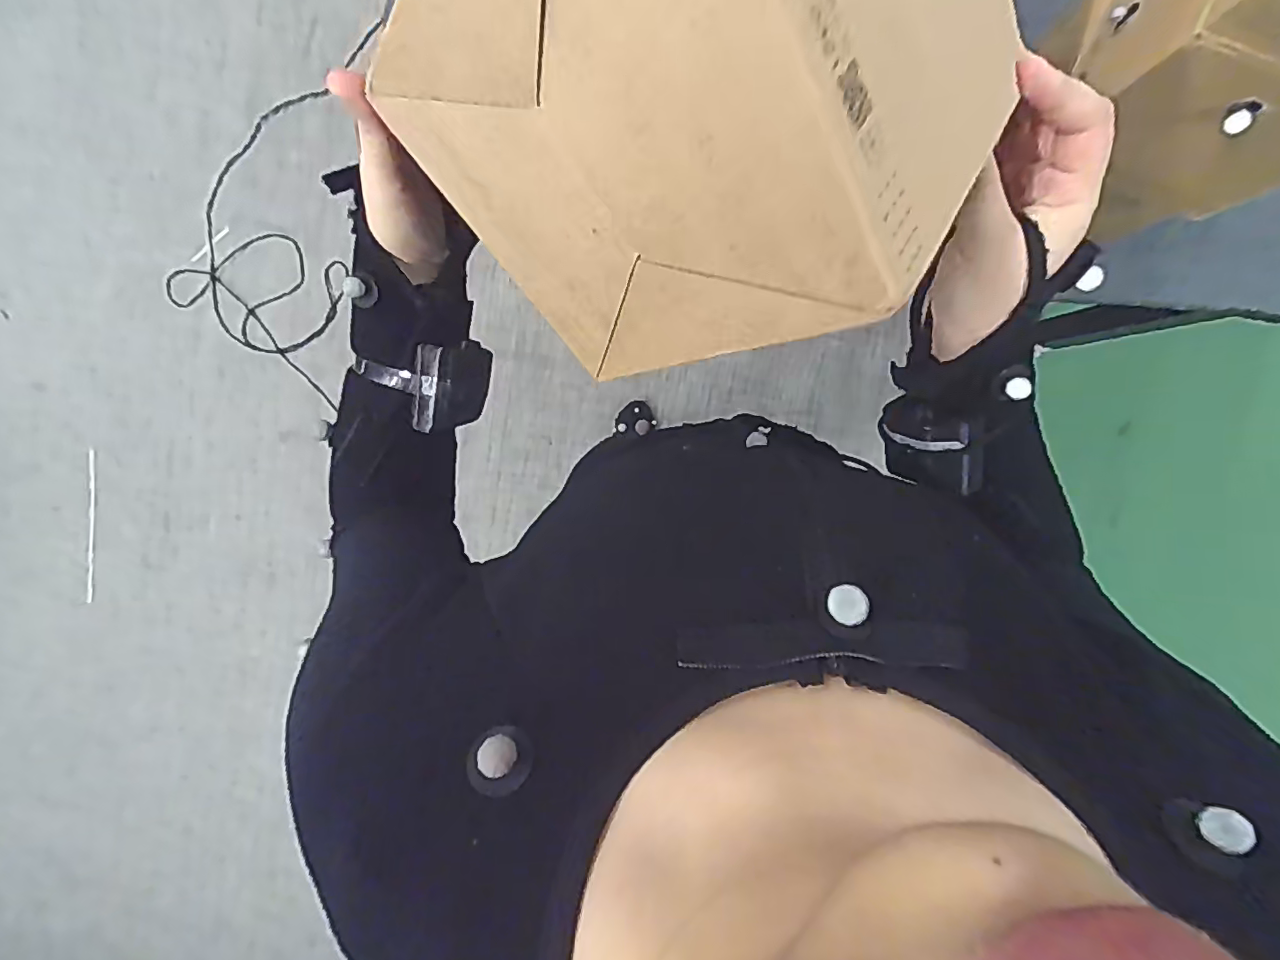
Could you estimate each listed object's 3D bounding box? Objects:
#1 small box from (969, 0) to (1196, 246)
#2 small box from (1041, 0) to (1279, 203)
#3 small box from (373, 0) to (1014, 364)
[{"bbox_3d":[0.504,-0.387,0.600,0.168,0.176,0.179,12,97,3],"label":"small box"},{"bbox_3d":[0.492,-0.357,0.440,0.179,0.176,0.168,23,96,2],"label":"small box"},{"bbox_3d":[0.020,-0.170,0.231,0.168,0.179,0.176,49,65,-30],"label":"small box"}]
